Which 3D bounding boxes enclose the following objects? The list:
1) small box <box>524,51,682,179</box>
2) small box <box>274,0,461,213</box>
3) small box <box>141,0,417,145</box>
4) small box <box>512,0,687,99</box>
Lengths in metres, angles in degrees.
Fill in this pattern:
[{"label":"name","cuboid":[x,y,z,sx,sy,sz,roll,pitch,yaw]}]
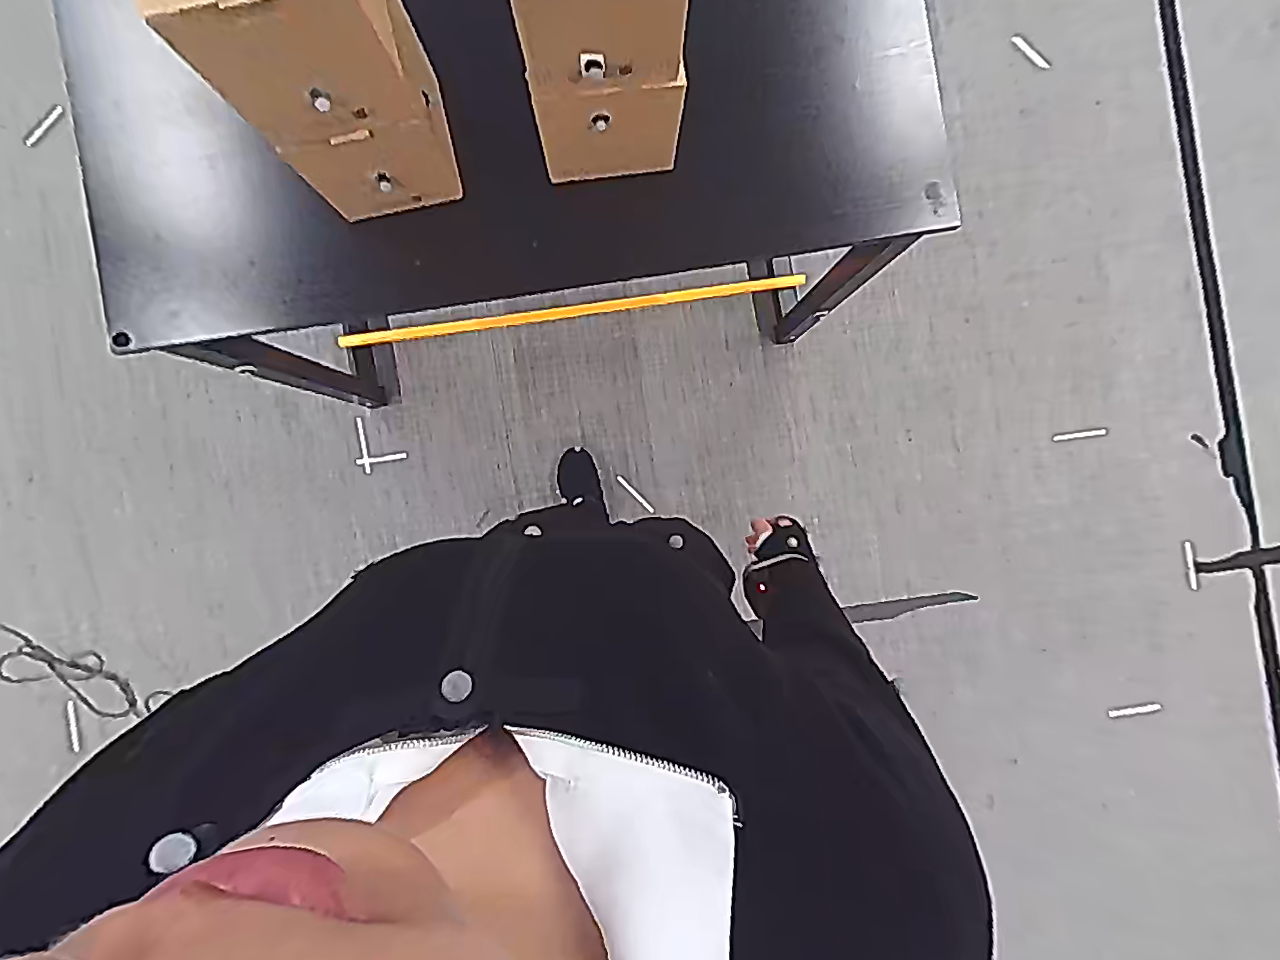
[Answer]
[{"label":"small box","cuboid":[-0.049,-0.513,0.691,0.179,0.176,0.168,-8,90,-2]},{"label":"small box","cuboid":[-0.344,-0.464,0.683,0.168,0.176,0.179,-13,90,-1]},{"label":"small box","cuboid":[-0.340,-0.469,0.517,0.168,0.176,0.179,-15,90,-1]},{"label":"small box","cuboid":[-0.048,-0.523,0.528,0.168,0.176,0.179,-9,91,0]}]
